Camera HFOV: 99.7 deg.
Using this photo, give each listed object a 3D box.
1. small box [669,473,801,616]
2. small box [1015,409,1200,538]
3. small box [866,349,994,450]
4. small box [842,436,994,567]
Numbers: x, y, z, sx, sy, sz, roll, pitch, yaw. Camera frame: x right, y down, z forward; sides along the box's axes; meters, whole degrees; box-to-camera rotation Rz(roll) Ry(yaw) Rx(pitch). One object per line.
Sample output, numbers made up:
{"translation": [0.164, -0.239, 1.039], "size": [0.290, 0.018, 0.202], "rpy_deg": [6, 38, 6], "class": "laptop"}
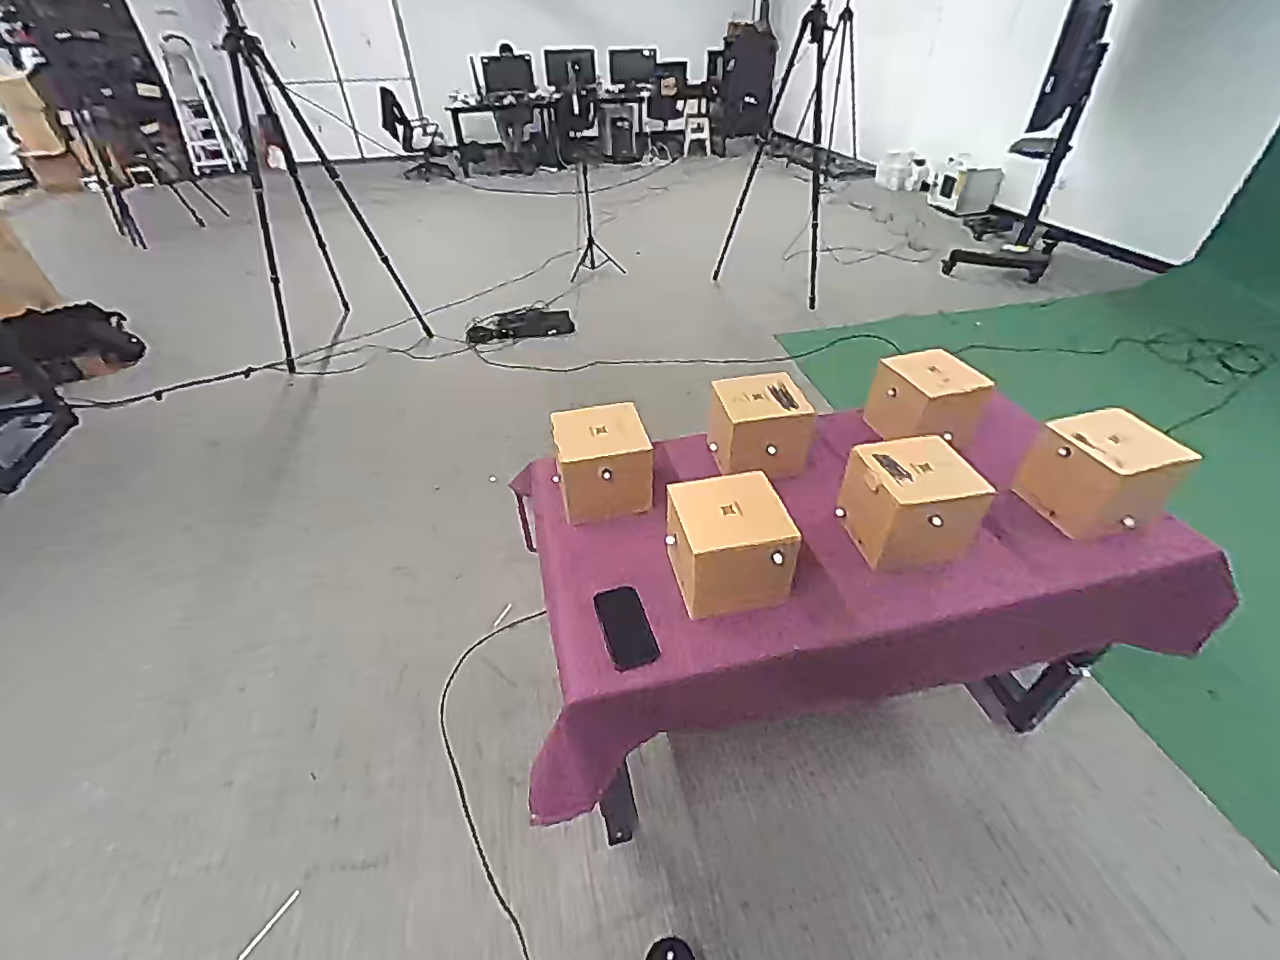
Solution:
{"translation": [0.152, 0.112, 0.929], "size": [0.179, 0.176, 0.168], "rpy_deg": [-8, 41, -8], "class": "small box"}
{"translation": [0.876, -0.012, 1.037], "size": [0.179, 0.176, 0.168], "rpy_deg": [-10, 41, -10], "class": "small box"}
{"translation": [0.650, -0.177, 1.240], "size": [0.168, 0.176, 0.179], "rpy_deg": [-12, 42, -10], "class": "small box"}
{"translation": [0.492, 0.042, 0.993], "size": [0.179, 0.176, 0.168], "rpy_deg": [-7, 41, -7], "class": "small box"}
